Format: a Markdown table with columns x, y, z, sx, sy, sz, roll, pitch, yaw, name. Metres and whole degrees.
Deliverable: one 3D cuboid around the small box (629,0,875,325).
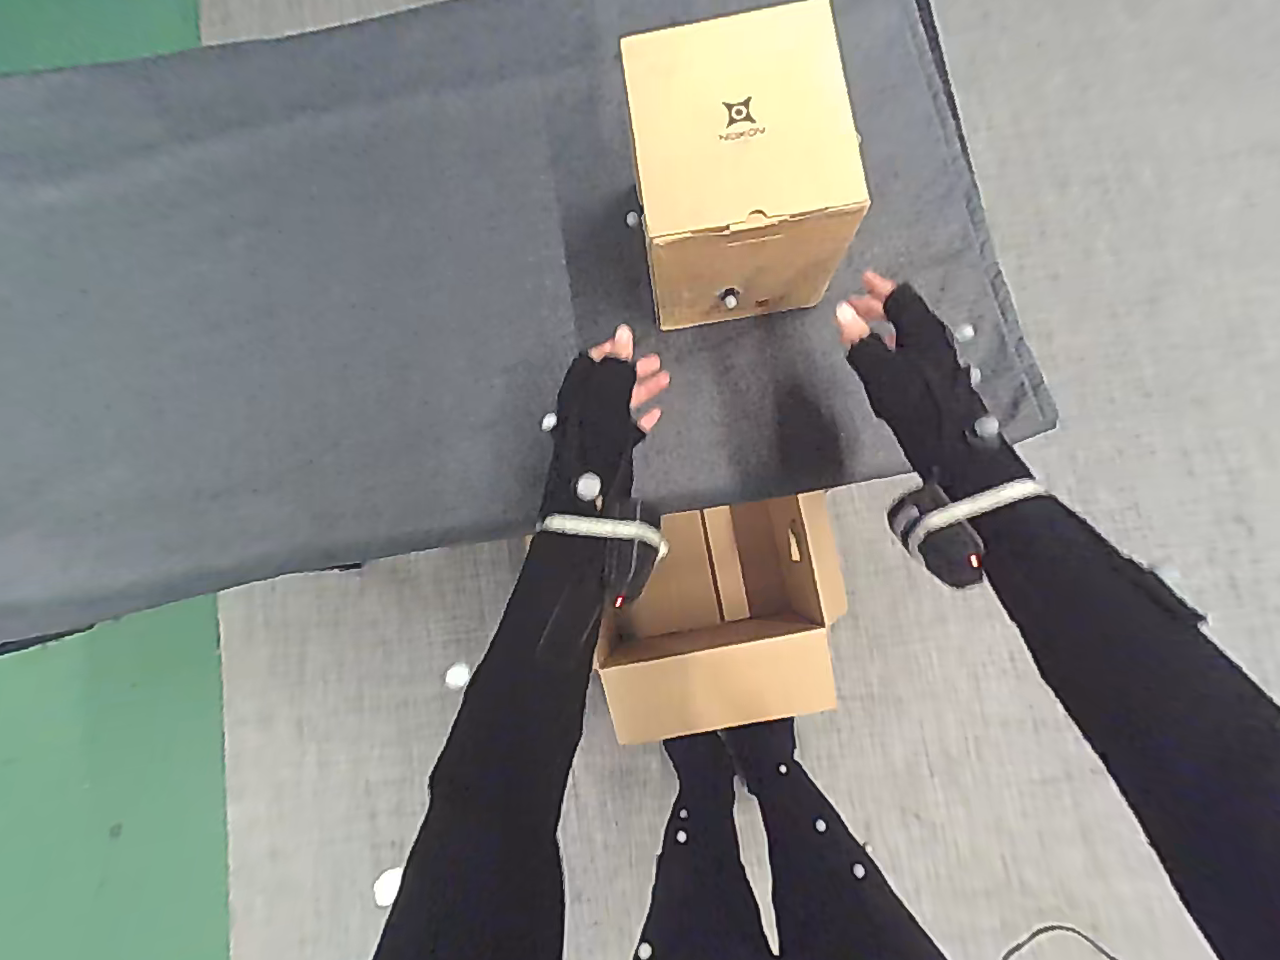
| x | y | z | sx | sy | sz | roll | pitch | yaw | name |
| --- | --- | --- | --- | --- | --- | --- | --- | --- | --- |
| 0.086 | -0.265 | 0.487 | 0.168 | 0.176 | 0.179 | -9 | 83 | 4 | small box |
